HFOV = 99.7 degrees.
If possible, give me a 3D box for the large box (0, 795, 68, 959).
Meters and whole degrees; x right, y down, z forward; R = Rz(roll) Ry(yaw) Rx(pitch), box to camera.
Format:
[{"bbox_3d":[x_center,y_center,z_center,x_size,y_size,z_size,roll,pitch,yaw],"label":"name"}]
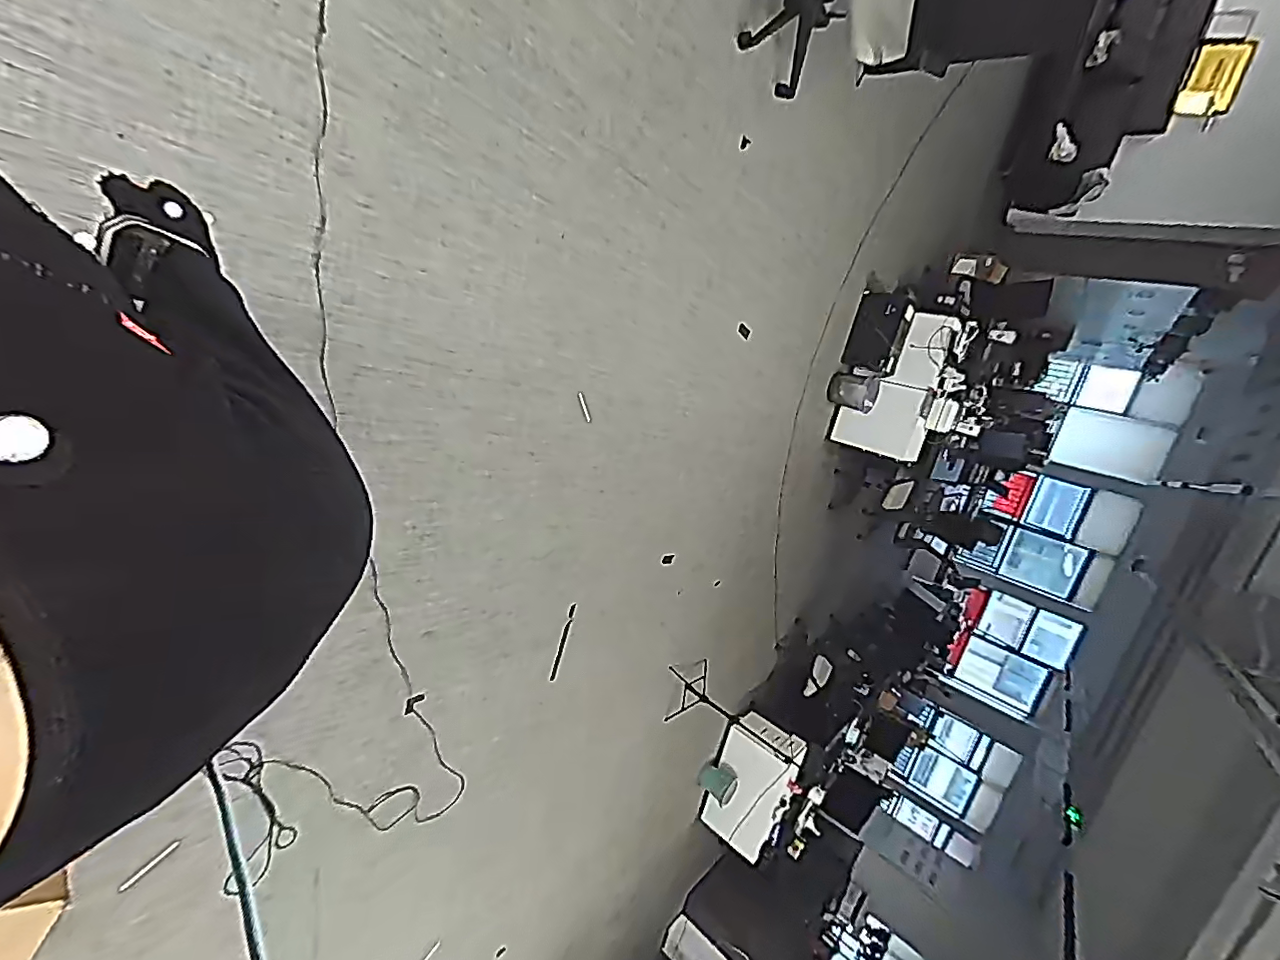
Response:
[{"bbox_3d":[-1.422,0.832,0.988,0.320,0.320,0.408,-61,145,-8],"label":"large box"}]
